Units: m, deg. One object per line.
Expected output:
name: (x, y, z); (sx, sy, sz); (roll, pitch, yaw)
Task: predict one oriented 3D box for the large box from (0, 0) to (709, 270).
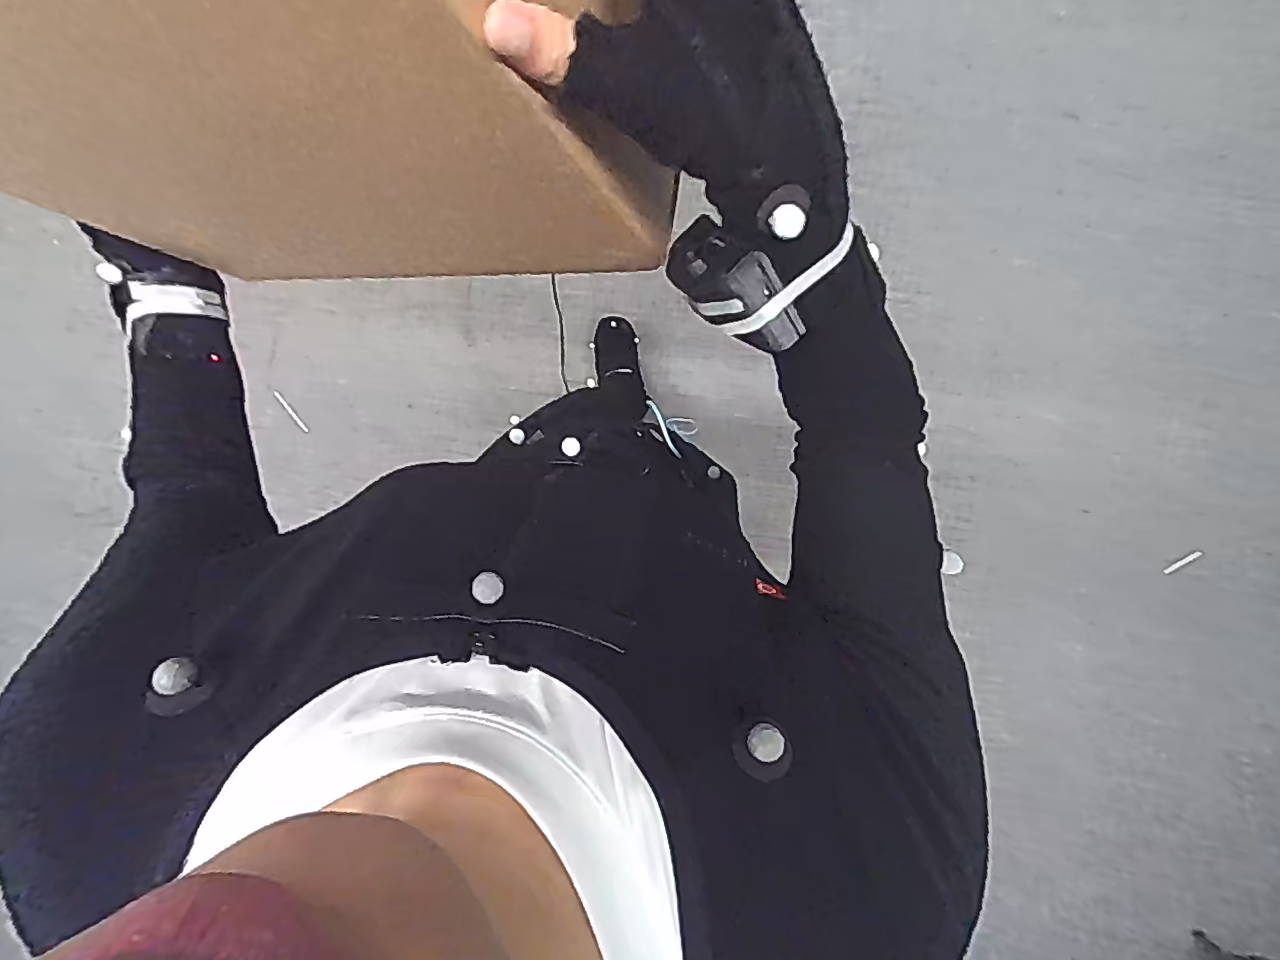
large box: (-0.194, -0.322, 0.271); (0.408, 0.320, 0.320); (8, 90, 22)
